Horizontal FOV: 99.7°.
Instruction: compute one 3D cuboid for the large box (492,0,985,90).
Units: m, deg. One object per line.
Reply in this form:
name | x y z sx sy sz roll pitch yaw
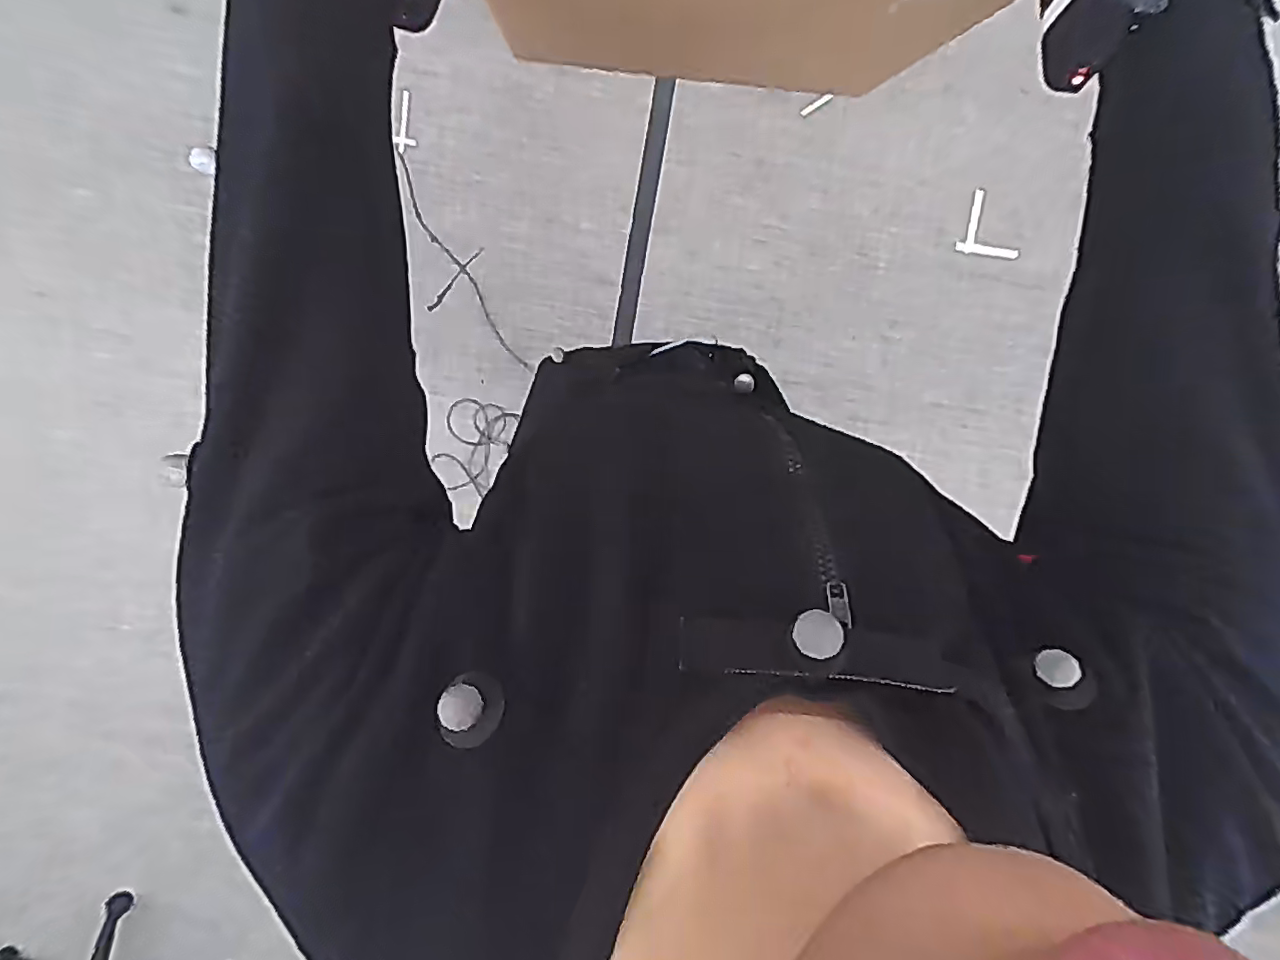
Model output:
large box | 0.075 -0.545 0.426 0.408 0.320 0.320 2 113 -5
